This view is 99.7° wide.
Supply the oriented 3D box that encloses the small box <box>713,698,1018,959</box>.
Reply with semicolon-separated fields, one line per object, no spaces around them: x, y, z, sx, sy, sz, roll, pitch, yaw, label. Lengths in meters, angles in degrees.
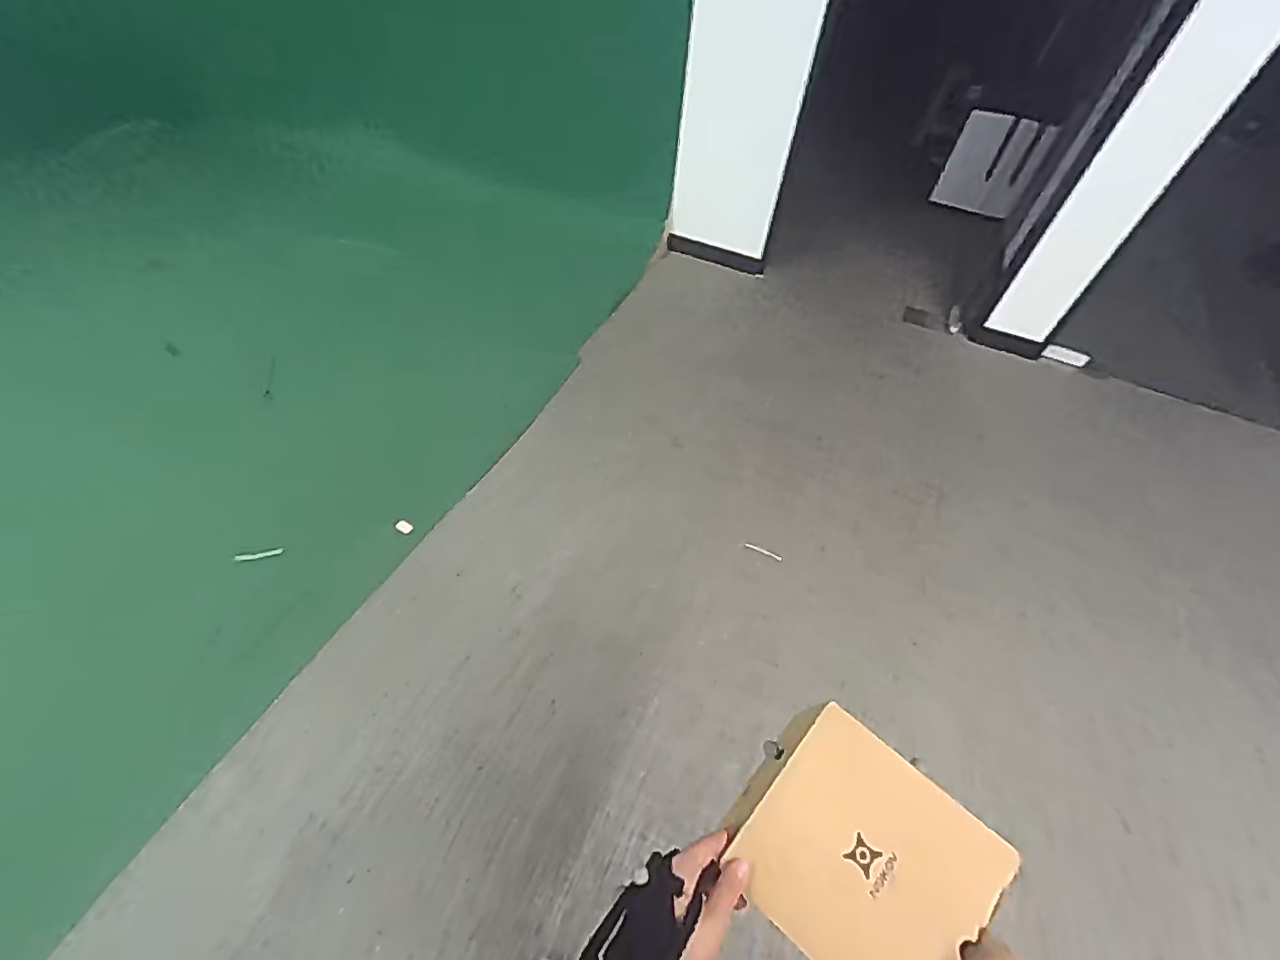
0.182;0.332;0.496;0.179;0.176;0.168;37;71;19;small box
